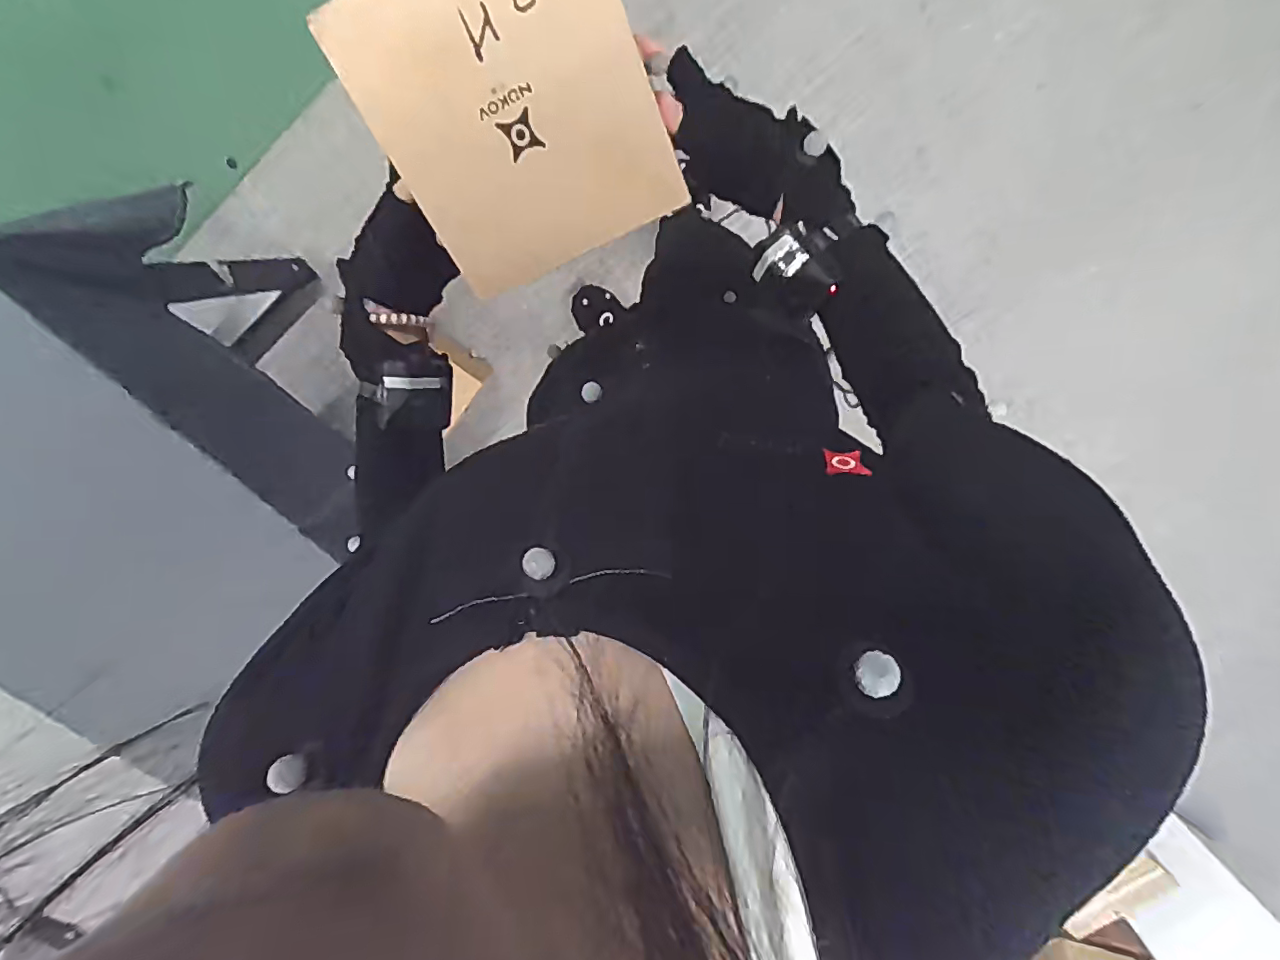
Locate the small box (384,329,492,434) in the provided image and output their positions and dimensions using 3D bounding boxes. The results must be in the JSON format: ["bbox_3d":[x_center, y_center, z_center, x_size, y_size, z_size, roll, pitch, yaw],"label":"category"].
[{"bbox_3d":[-0.491,-0.250,1.344,0.168,0.176,0.179,36,109,-17],"label":"small box"}]

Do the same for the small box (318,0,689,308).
[{"bbox_3d":[-0.073,-0.260,0.391,0.168,0.176,0.179,-19,125,12],"label":"small box"}]
